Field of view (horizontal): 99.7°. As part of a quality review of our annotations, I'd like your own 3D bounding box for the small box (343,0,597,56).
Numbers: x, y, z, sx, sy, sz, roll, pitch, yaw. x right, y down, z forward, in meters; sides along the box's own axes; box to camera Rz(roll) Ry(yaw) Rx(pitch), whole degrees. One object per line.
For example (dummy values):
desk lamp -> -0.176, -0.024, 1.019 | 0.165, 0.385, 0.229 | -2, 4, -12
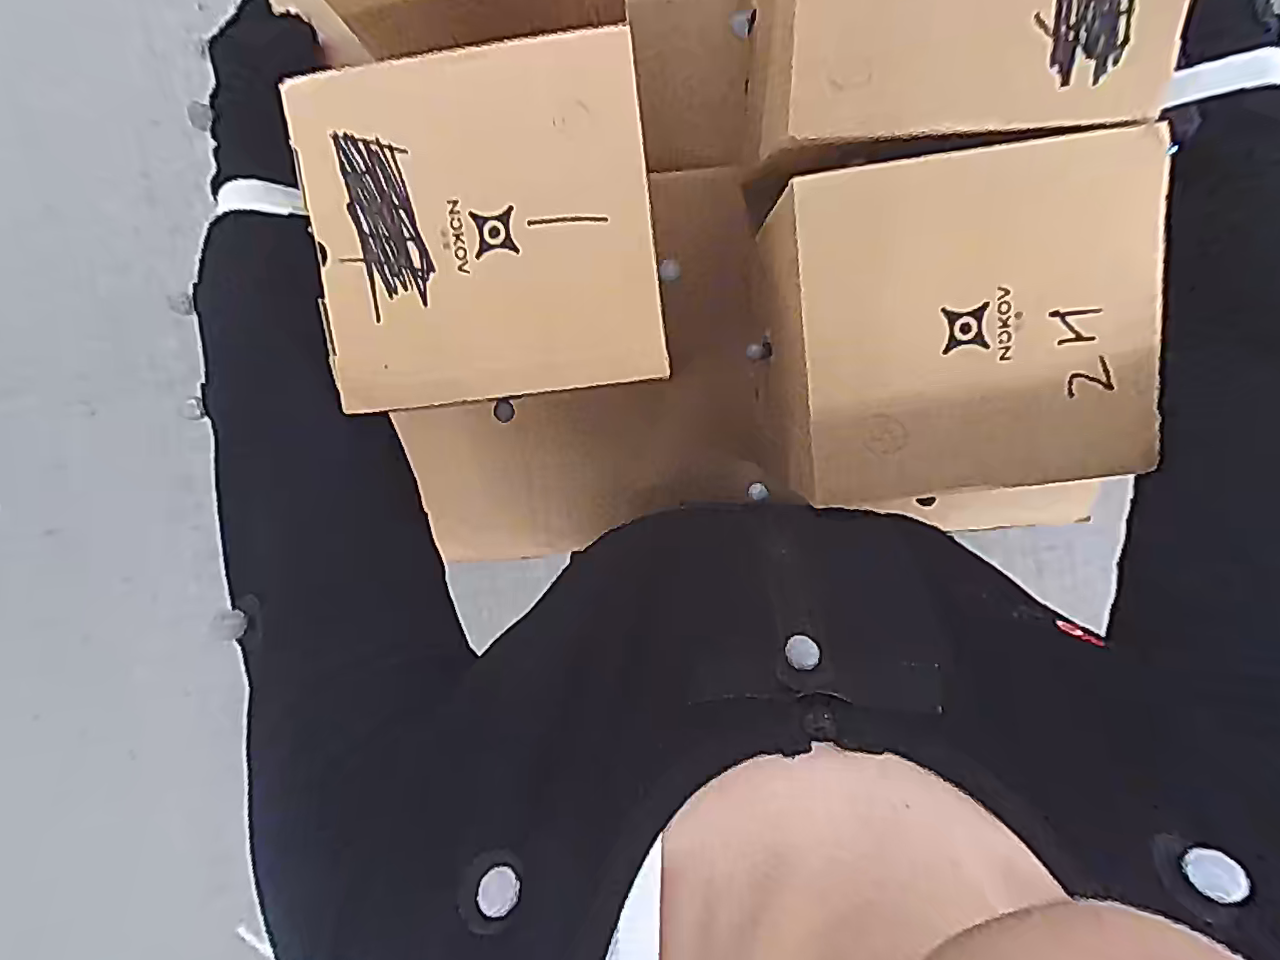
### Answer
small box -> -0.111, -0.378, 0.291 | 0.179, 0.176, 0.168 | -9, 100, 5
